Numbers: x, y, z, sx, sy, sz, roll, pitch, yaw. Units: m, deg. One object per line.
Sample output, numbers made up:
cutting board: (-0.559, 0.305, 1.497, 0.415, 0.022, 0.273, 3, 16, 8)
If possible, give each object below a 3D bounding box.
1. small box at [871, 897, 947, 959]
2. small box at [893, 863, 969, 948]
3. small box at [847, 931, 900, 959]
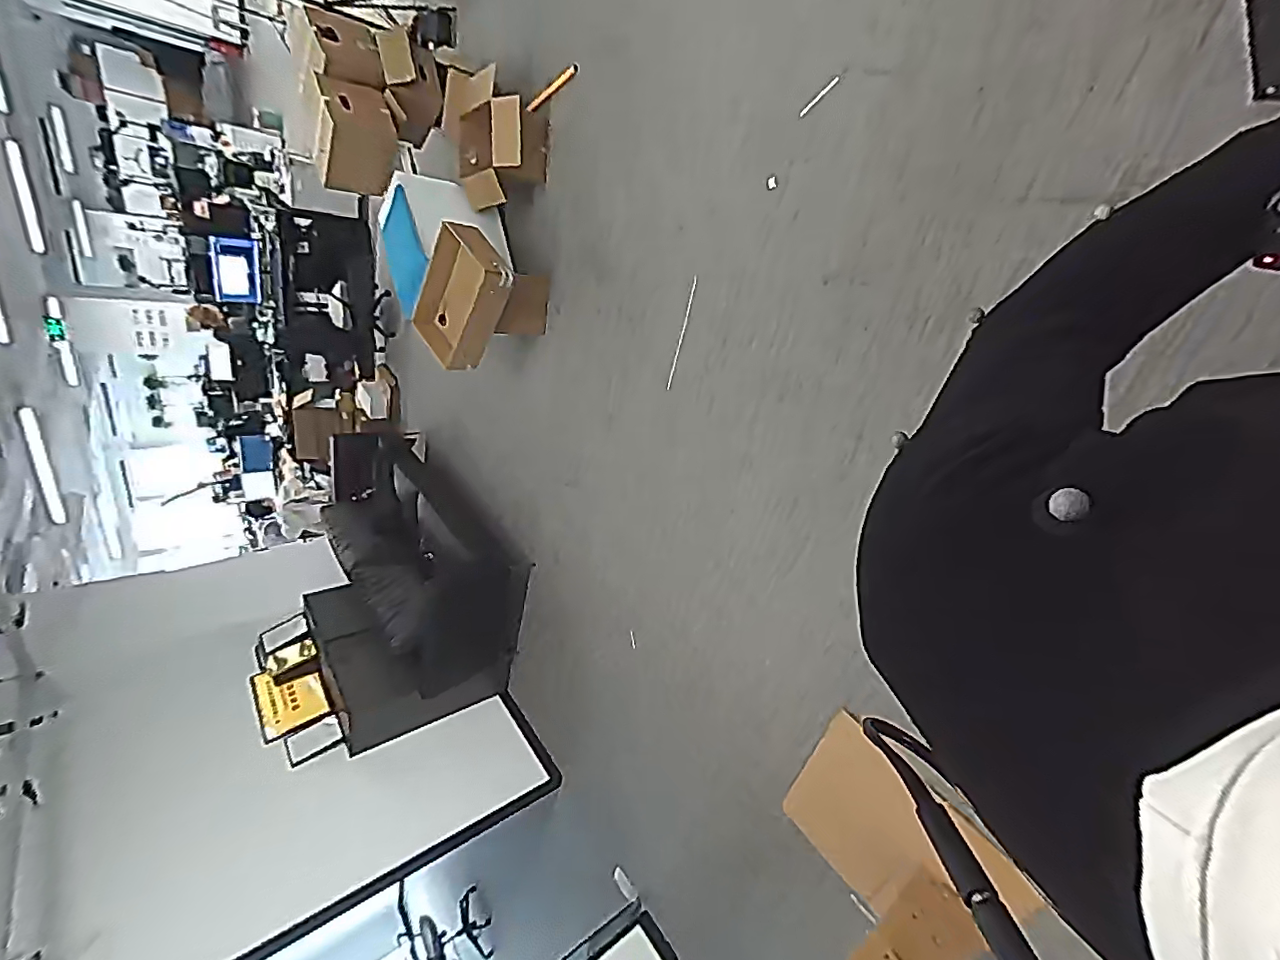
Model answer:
small box: (0.768, 1.384, 1.584, 0.168, 0.176, 0.179, 35, 124, 40)
small box: (0.892, 1.361, 1.688, 0.168, 0.176, 0.179, 31, 120, 42)
small box: (0.642, 1.405, 1.485, 0.168, 0.176, 0.179, 35, 124, 40)
